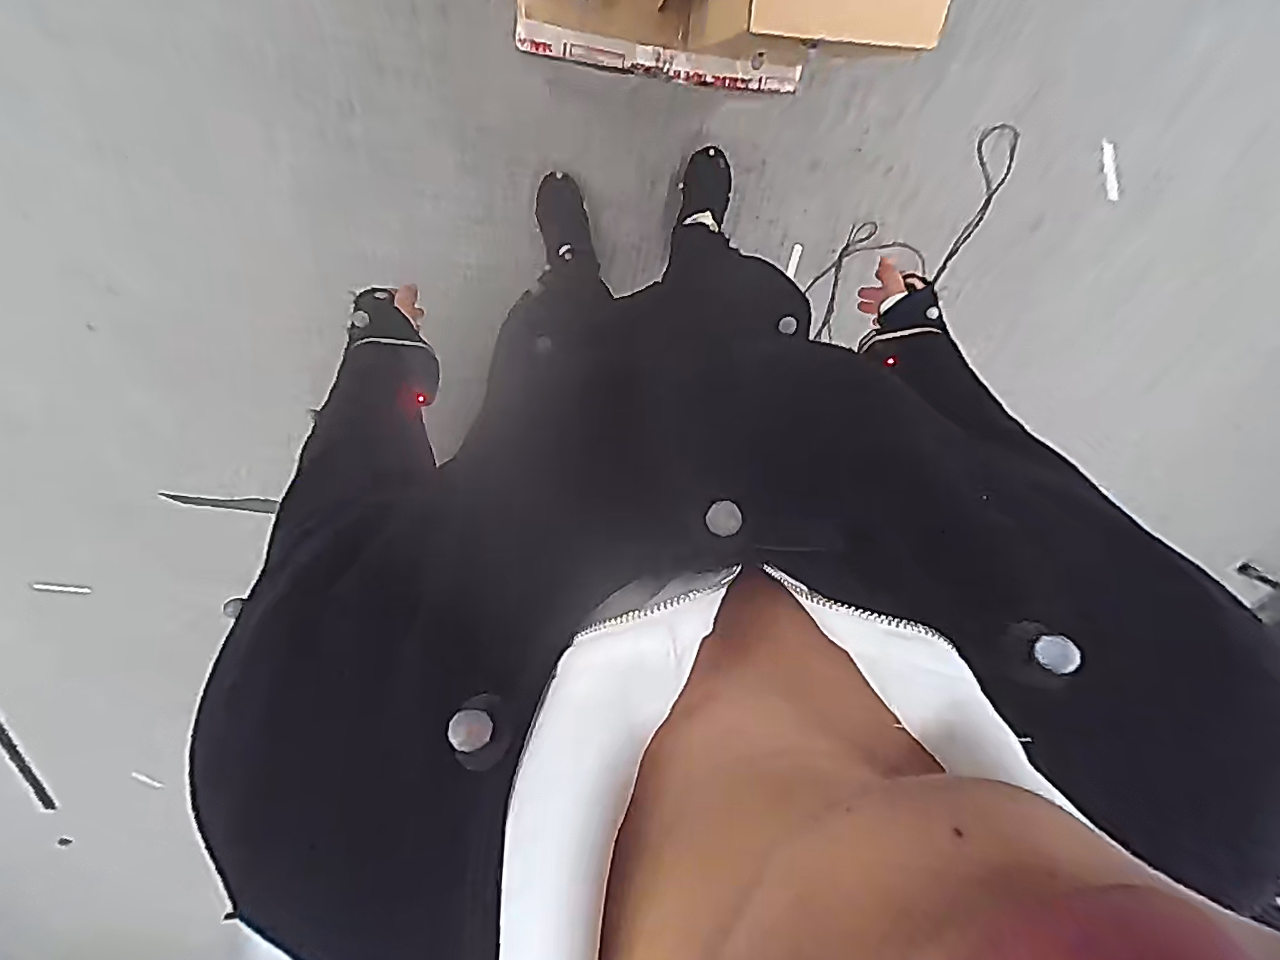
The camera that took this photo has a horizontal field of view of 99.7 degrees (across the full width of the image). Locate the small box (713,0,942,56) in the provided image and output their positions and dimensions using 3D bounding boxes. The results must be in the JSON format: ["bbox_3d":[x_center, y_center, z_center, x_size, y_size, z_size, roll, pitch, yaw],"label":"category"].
[{"bbox_3d":[0.173,-0.502,0.496,0.179,0.176,0.168,0,126,-7],"label":"small box"}]

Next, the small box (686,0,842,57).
[{"bbox_3d":[0.160,-0.604,0.628,0.179,0.176,0.168,0,126,-6],"label":"small box"}]

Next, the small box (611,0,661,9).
[{"bbox_3d":[-0.037,-0.644,0.578,0.168,0.176,0.179,8,126,-8],"label":"small box"}]
